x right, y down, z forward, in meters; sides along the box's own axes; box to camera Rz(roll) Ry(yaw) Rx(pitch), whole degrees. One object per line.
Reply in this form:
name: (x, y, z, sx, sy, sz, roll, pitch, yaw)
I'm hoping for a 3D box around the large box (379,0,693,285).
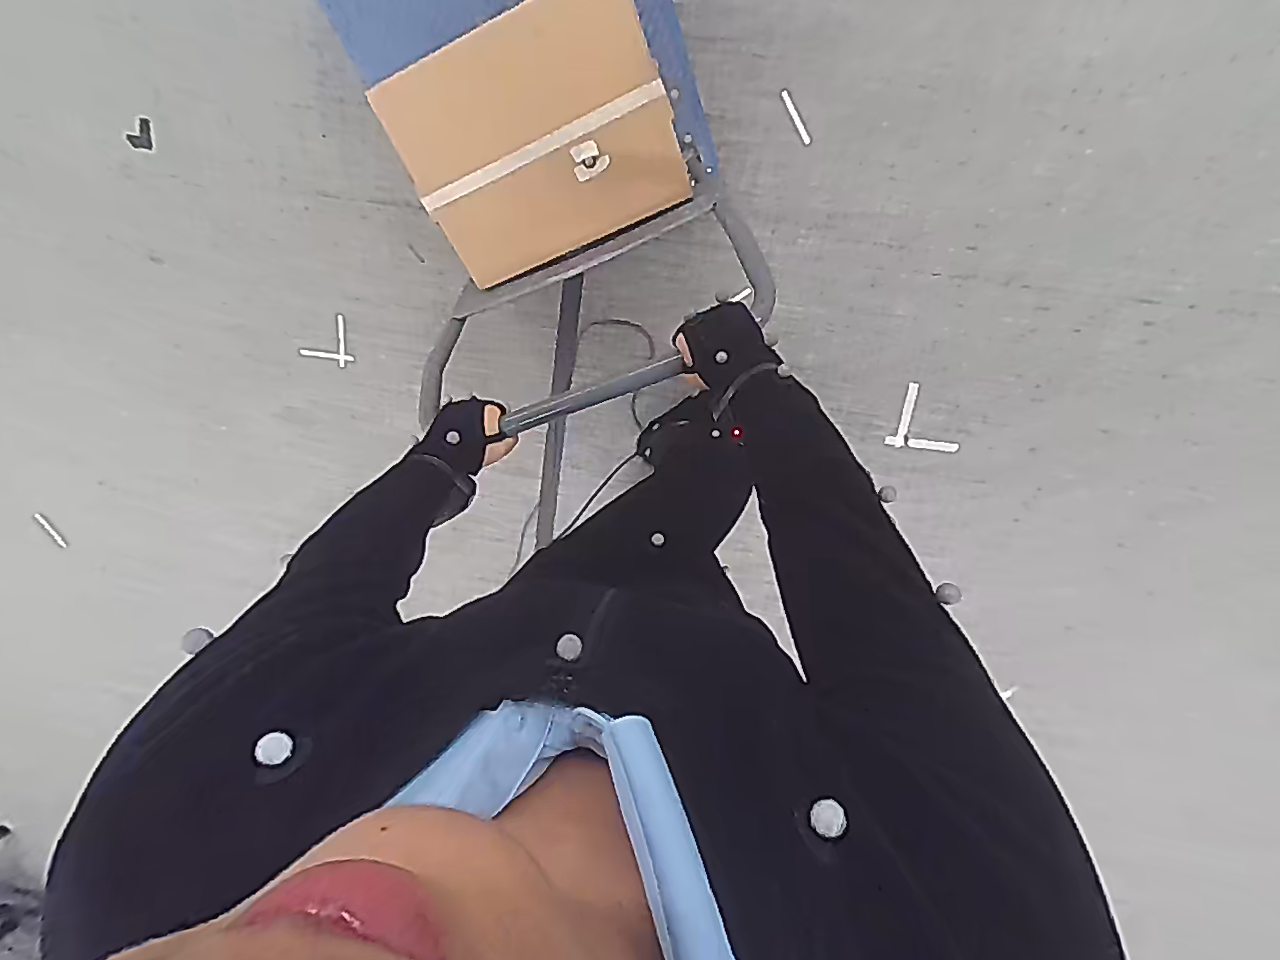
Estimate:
large box: (-0.159, -0.612, 0.962, 0.408, 0.320, 0.320, -20, 126, 12)
